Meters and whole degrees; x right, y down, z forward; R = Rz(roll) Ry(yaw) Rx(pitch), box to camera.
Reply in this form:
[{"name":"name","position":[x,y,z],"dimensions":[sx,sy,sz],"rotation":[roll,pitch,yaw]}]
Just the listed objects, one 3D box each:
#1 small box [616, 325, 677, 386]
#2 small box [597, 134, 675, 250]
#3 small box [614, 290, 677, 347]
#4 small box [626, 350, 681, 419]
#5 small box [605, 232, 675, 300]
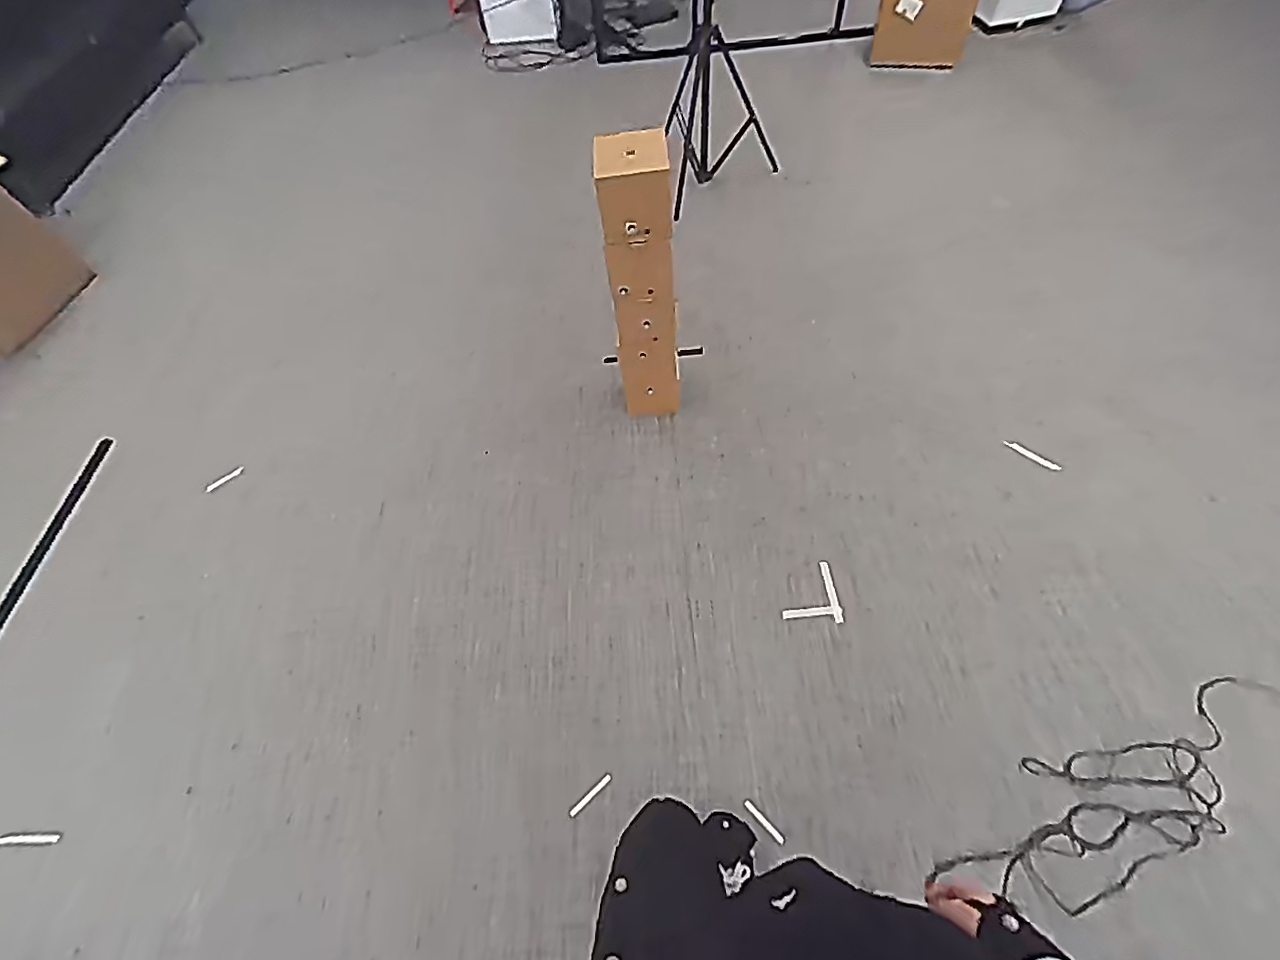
[{"name":"small box","position":[0.024,-0.405,1.672],"dimensions":[0.179,0.176,0.168],"rotation":[-2,59,4]},{"name":"small box","position":[-0.007,-0.667,1.259],"dimensions":[0.168,0.176,0.179],"rotation":[-6,59,3]},{"name":"small box","position":[0.020,-0.494,1.534],"dimensions":[0.168,0.176,0.179],"rotation":[-3,59,4]},{"name":"small box","position":[0.044,-0.322,1.812],"dimensions":[0.179,0.176,0.168],"rotation":[-4,58,3]},{"name":"small box","position":[0.004,-0.582,1.397],"dimensions":[0.168,0.176,0.179],"rotation":[-3,57,4]}]
